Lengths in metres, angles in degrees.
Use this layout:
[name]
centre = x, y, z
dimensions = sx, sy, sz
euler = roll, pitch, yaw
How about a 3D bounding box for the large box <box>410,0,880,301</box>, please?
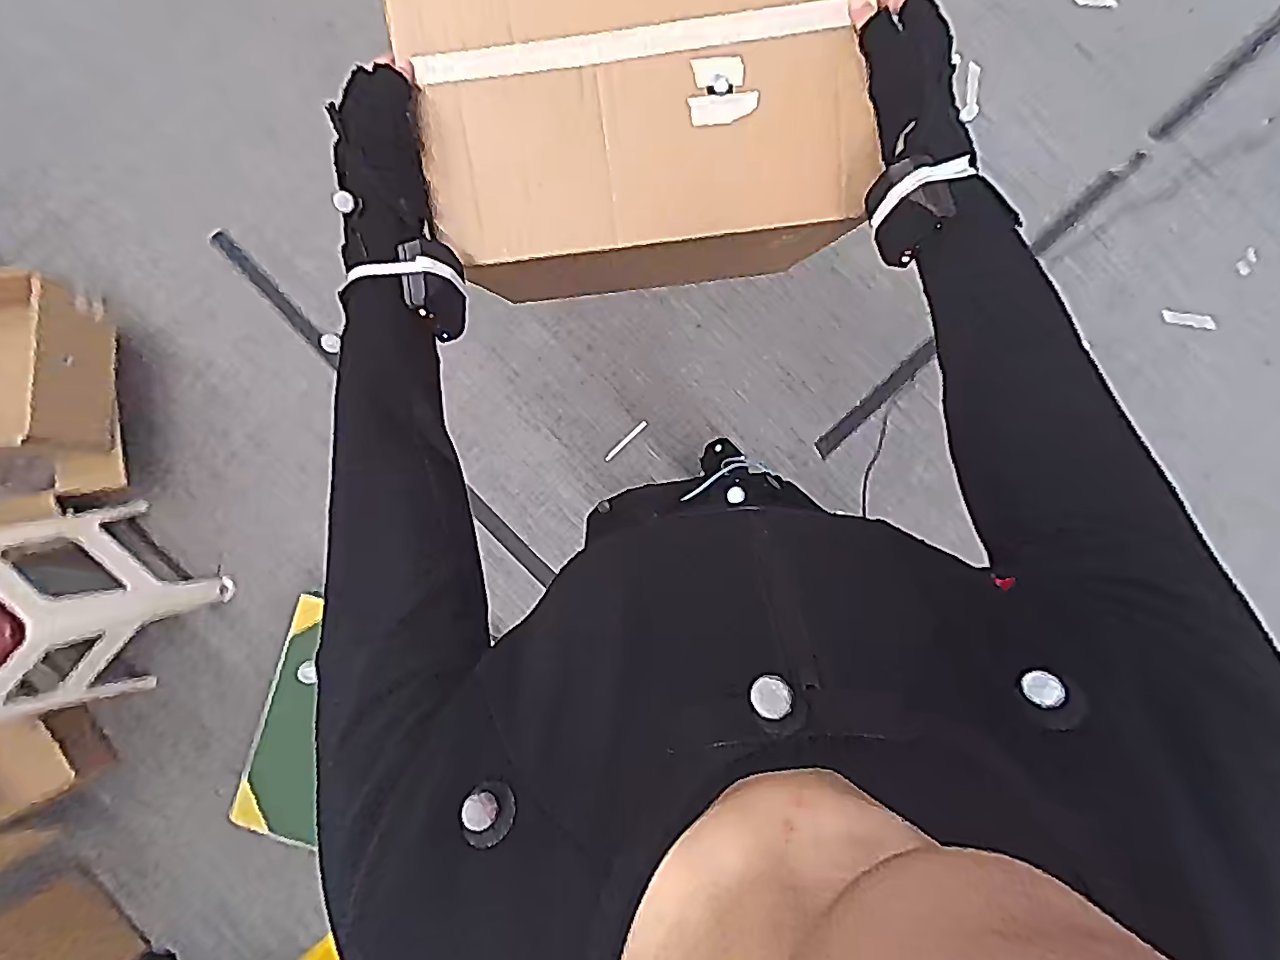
[large box]
centre = 0.004, -0.401, 0.615
dimensions = 0.408, 0.320, 0.320
euler = -6, 103, 0
